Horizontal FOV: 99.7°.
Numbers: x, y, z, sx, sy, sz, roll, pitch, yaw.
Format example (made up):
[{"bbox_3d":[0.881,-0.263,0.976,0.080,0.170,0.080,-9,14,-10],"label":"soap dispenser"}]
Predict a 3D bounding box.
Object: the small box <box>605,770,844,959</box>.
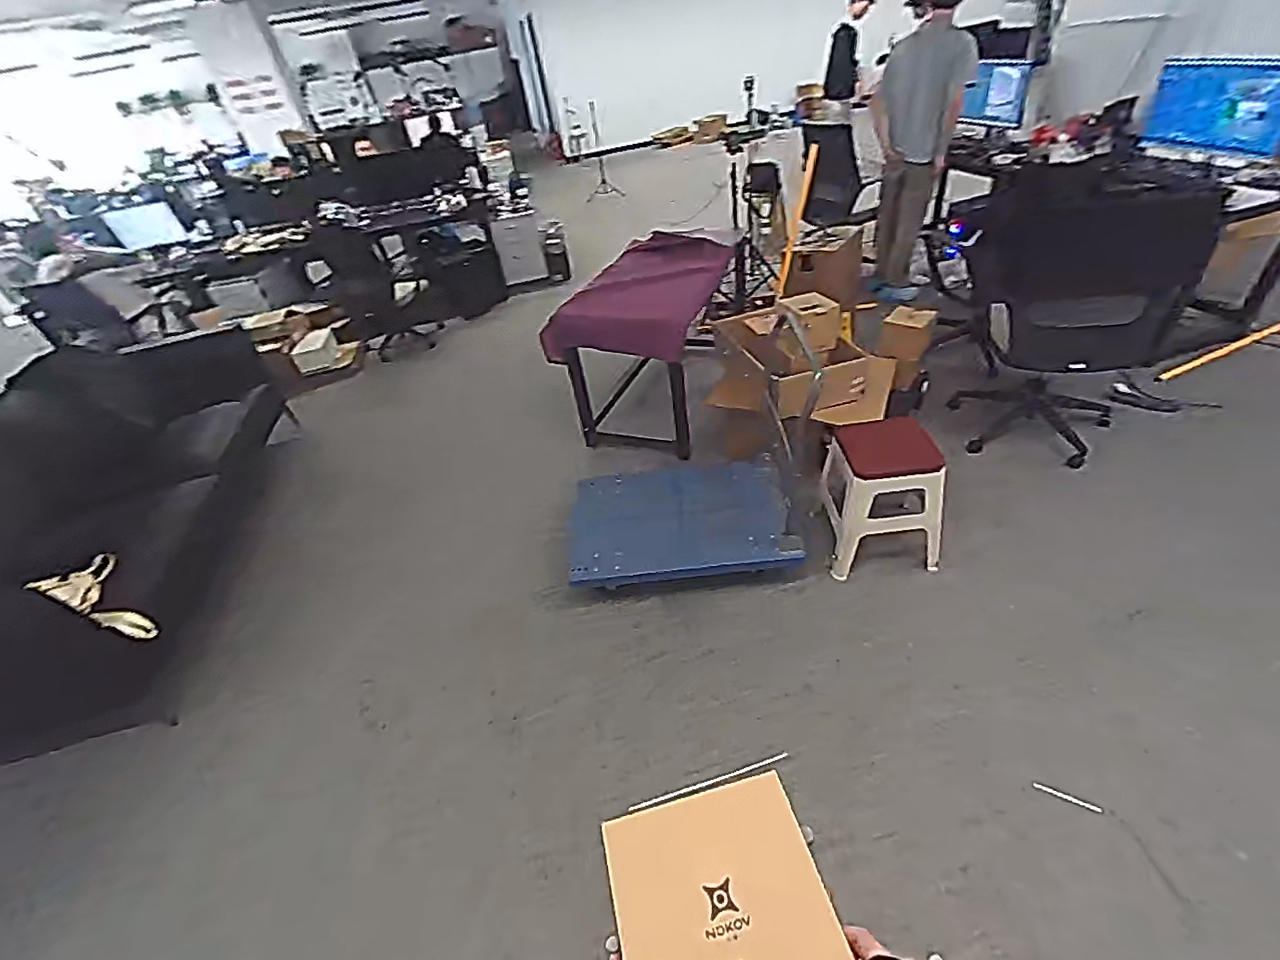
[{"bbox_3d":[0.070,0.400,0.482,0.168,0.176,0.179,-13,40,-4],"label":"small box"}]
